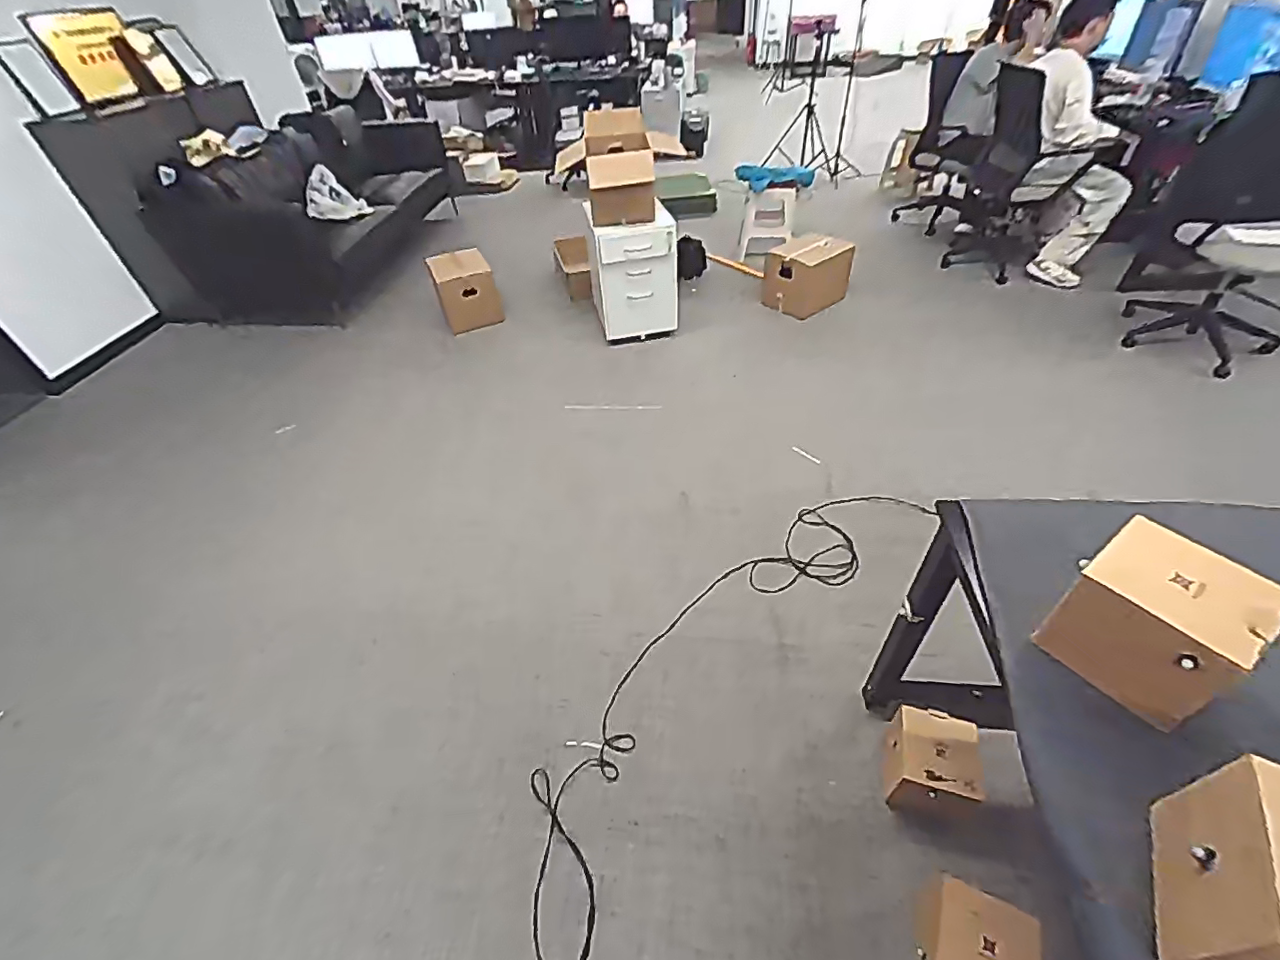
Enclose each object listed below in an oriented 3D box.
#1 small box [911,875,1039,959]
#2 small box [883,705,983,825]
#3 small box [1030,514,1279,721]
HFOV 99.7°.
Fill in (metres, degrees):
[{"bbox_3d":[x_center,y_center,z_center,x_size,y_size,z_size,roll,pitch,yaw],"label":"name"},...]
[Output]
[{"bbox_3d":[0.631,0.908,1.029,0.168,0.176,0.179,17,45,21],"label":"small box"},{"bbox_3d":[0.683,0.674,1.280,0.168,0.176,0.179,11,44,16],"label":"small box"},{"bbox_3d":[0.685,0.185,0.735,0.168,0.176,0.179,-28,48,-24],"label":"small box"}]
